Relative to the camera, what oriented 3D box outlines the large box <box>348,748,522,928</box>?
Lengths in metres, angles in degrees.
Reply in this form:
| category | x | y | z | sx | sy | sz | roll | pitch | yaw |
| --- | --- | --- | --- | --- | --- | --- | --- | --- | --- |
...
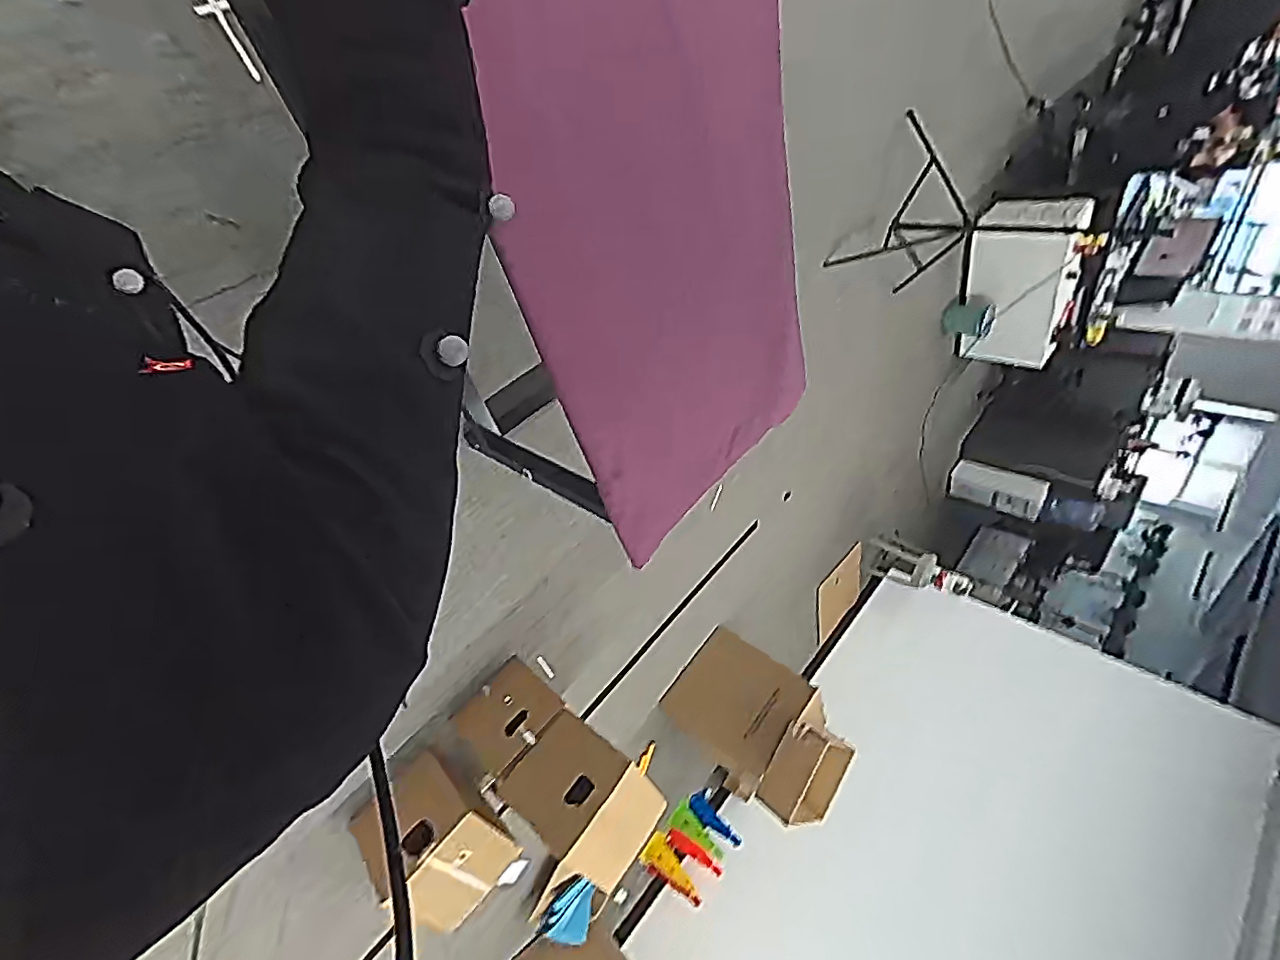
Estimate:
| category | x | y | z | sx | sy | sz | roll | pitch | yaw |
| --- | --- | --- | --- | --- | --- | --- | --- | --- | --- |
| large box | -0.666 | 1.174 | 1.783 | 0.320 | 0.320 | 0.408 | -43 | 134 | -24 |
